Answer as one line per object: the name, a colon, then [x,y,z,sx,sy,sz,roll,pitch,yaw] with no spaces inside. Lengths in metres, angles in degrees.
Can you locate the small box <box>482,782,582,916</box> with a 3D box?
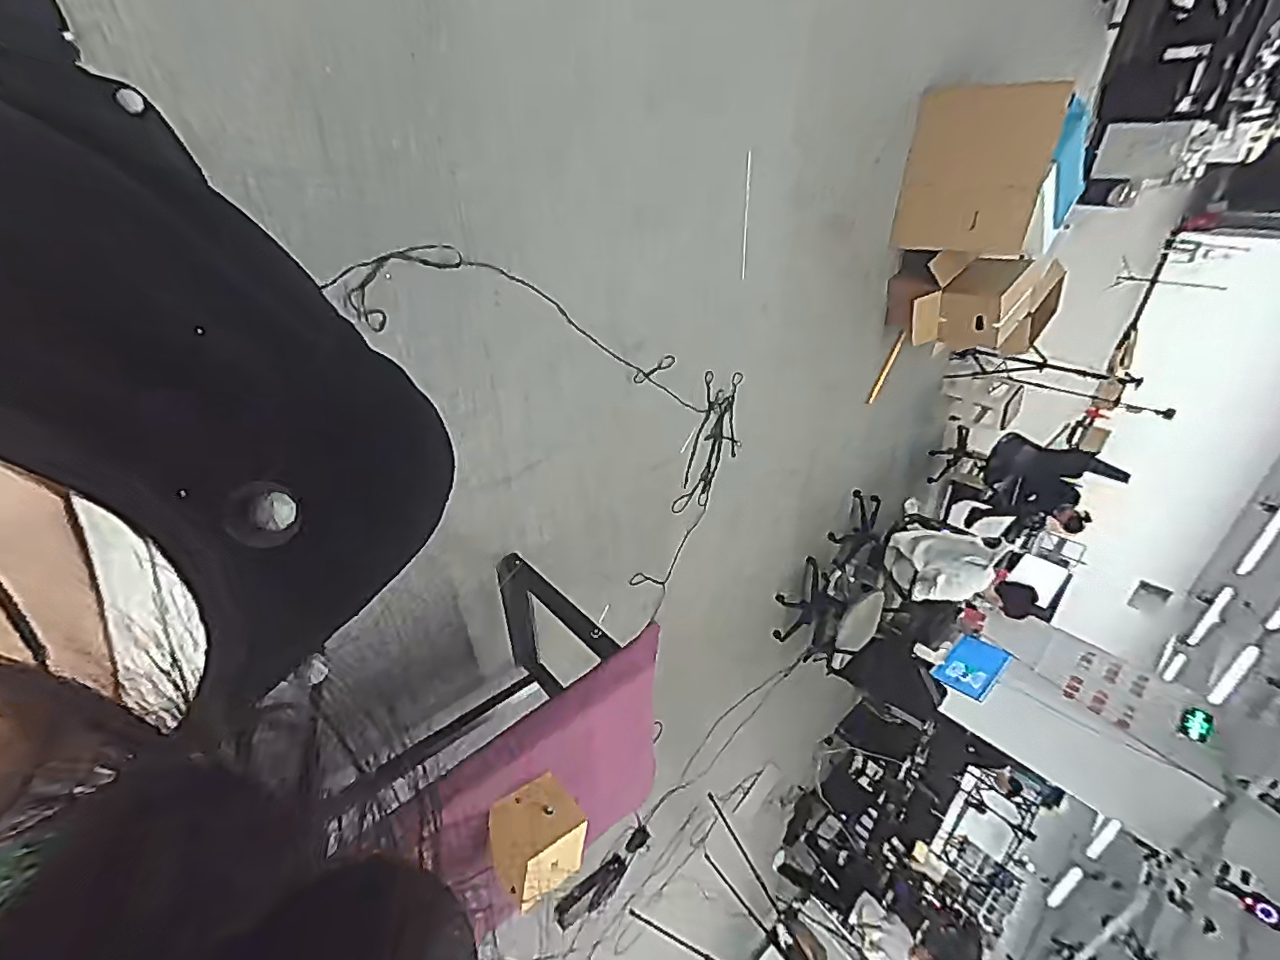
small box: [-0.261,0.859,1.285,0.168,0.176,0.179,-11,120,-43]

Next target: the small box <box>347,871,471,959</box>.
small box: [-0.474,0.966,1.119,0.168,0.176,0.179,-29,130,-33]
